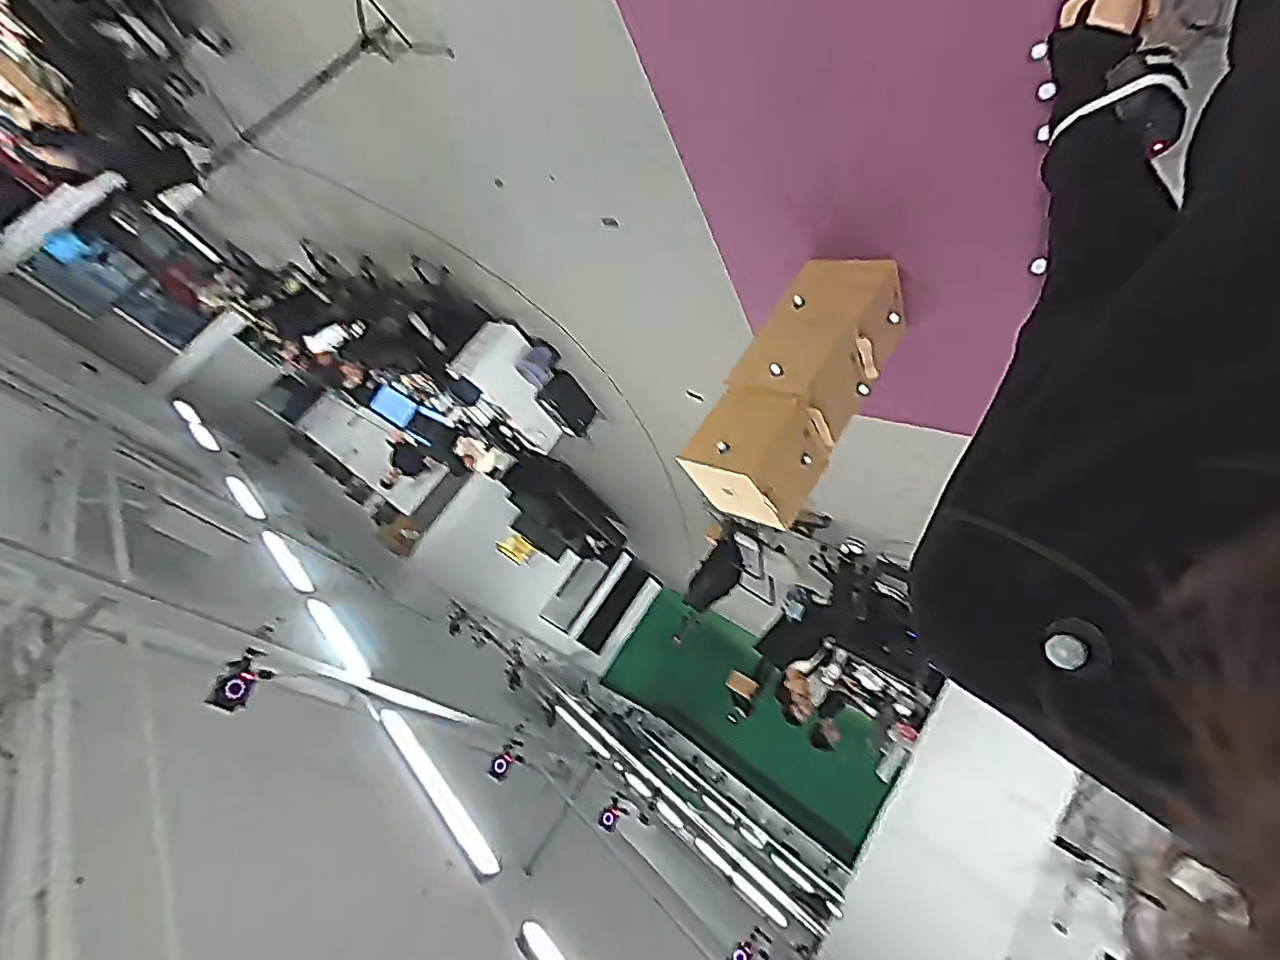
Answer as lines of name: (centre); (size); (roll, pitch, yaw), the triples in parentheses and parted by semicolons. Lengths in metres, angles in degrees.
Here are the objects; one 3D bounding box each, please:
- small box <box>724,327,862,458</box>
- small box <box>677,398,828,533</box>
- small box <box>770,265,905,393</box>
small box: (0.295, -0.169, 1.014); (0.179, 0.176, 0.168); (21, 159, 46)
small box: (0.207, -0.034, 0.984); (0.179, 0.176, 0.168); (17, 156, 49)
small box: (0.388, -0.298, 1.055); (0.179, 0.176, 0.168); (22, 160, 42)
